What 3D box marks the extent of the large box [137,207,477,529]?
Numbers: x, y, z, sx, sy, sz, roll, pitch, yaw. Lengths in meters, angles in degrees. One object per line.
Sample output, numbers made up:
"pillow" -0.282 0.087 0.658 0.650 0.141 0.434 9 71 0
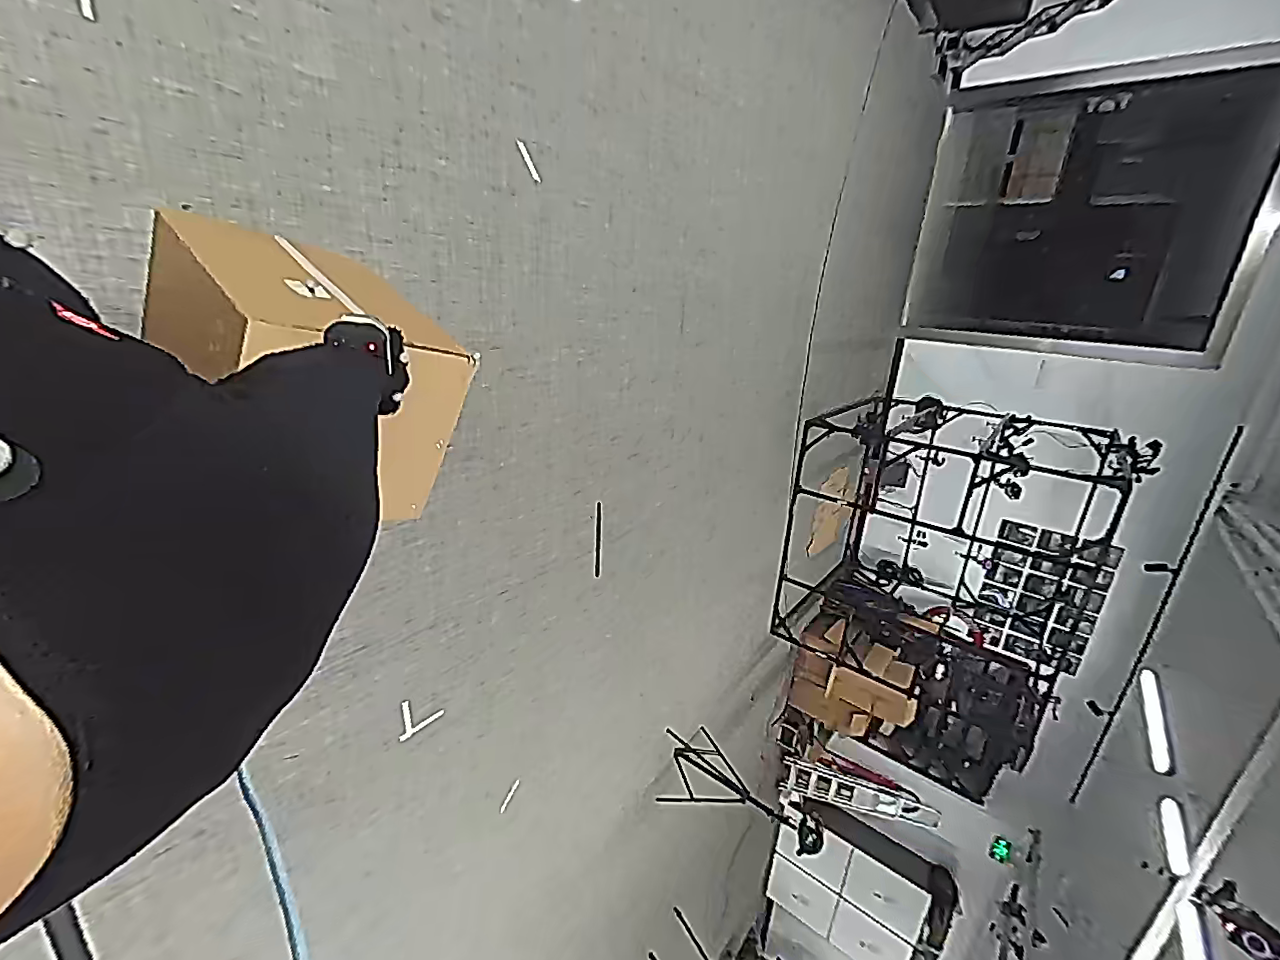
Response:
"large box" -0.550 -0.172 0.883 0.320 0.408 0.320 -4 128 -54
